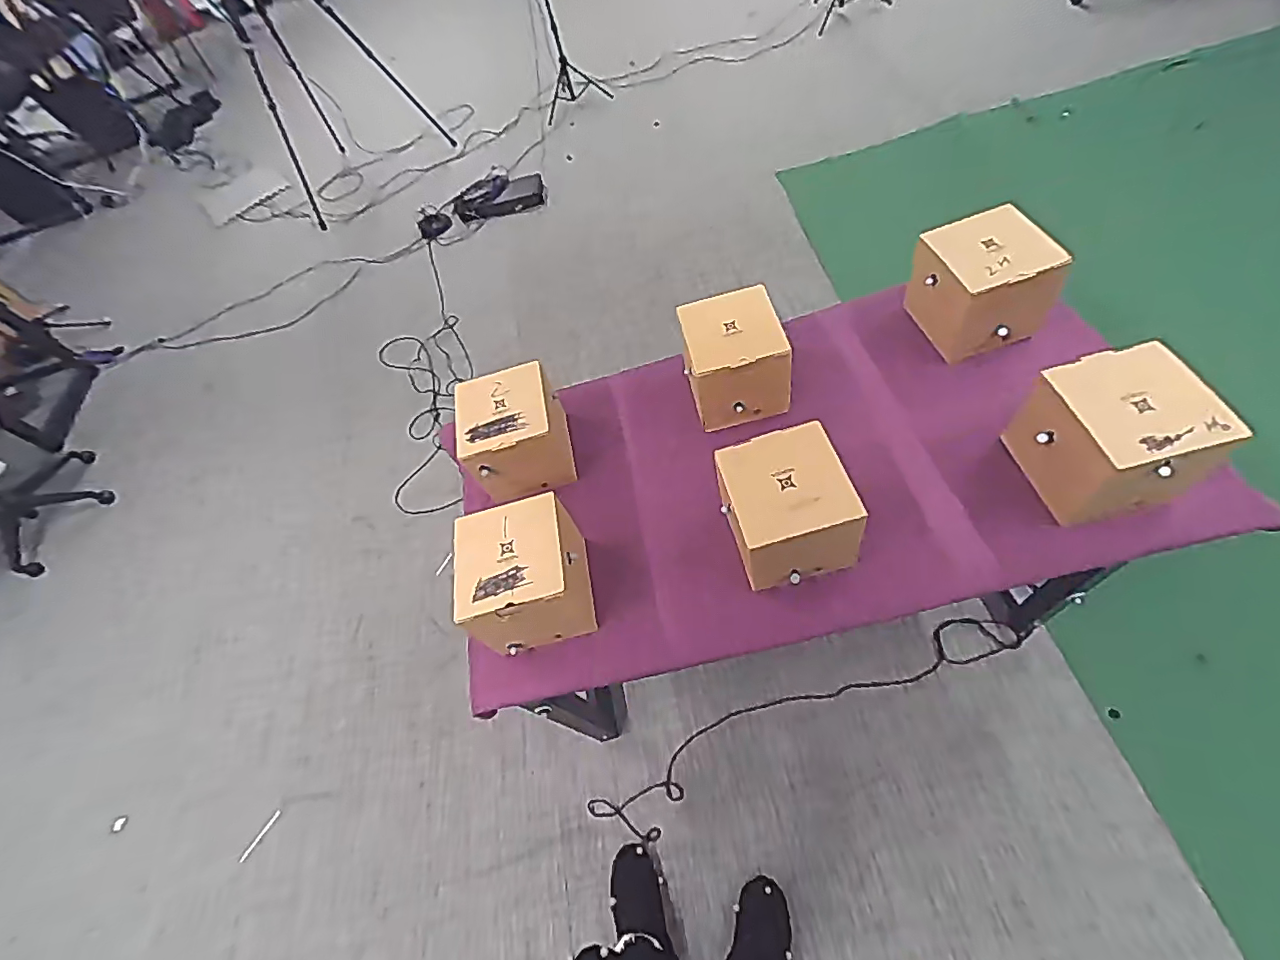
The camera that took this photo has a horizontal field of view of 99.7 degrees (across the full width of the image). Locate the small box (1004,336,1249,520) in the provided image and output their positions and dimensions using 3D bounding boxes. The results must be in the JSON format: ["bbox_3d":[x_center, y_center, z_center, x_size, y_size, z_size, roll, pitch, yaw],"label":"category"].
[{"bbox_3d":[0.669,-0.069,0.778,0.168,0.176,0.179,-16,57,7],"label":"small box"}]

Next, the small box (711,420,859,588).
[{"bbox_3d":[0.217,0.042,0.836,0.168,0.176,0.179,-17,56,6],"label":"small box"}]

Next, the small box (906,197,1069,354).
[{"bbox_3d":[0.604,-0.361,0.970,0.168,0.176,0.179,-19,57,7],"label":"small box"}]

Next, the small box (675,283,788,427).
[{"bbox_3d":[0.169,-0.228,1.013,0.168,0.176,0.179,-15,59,6],"label":"small box"}]

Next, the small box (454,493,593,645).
[{"bbox_3d":[-0.183,0.152,0.873,0.168,0.176,0.179,-16,55,4],"label":"small box"}]
